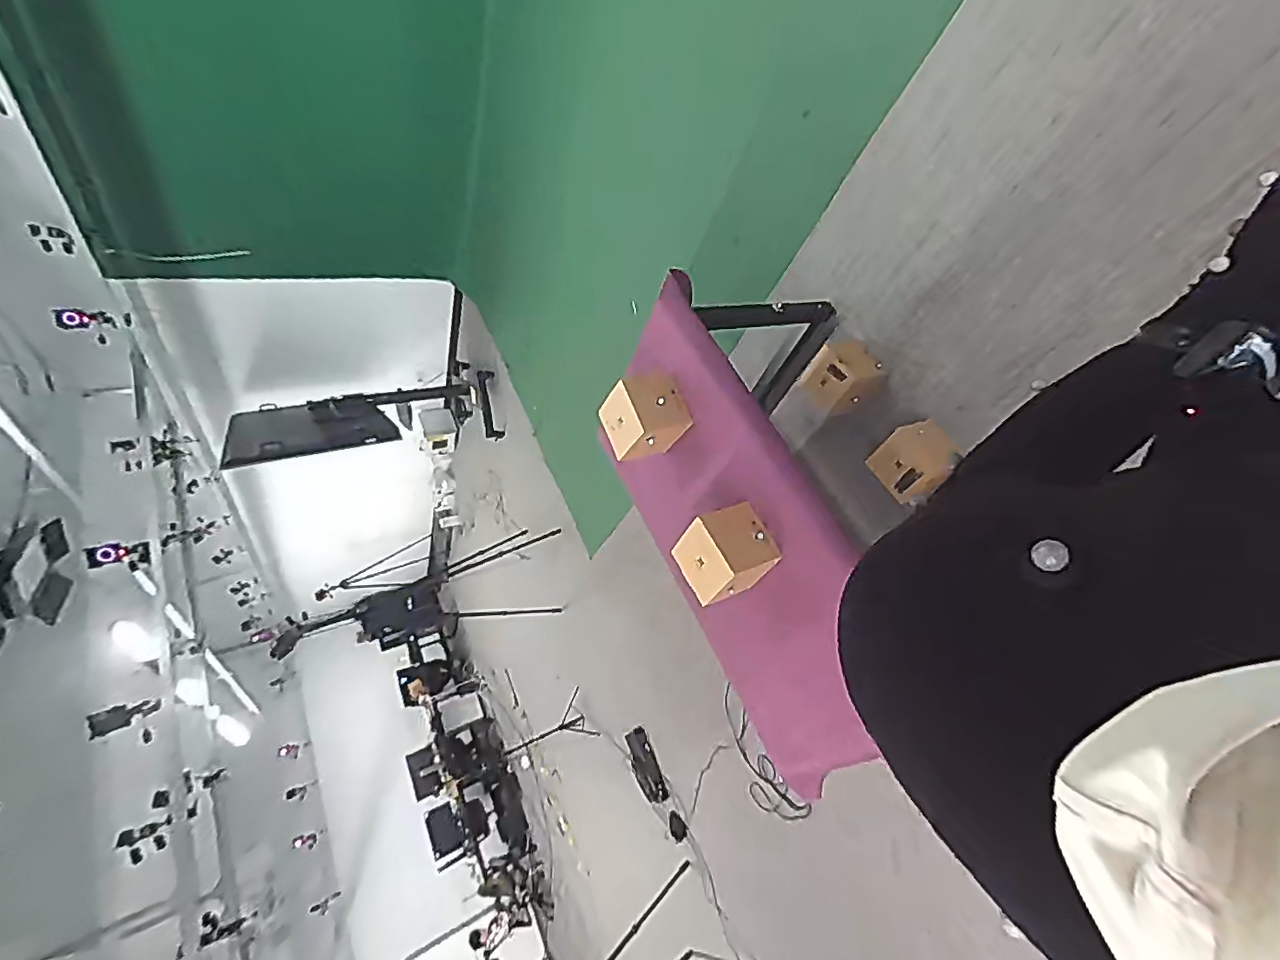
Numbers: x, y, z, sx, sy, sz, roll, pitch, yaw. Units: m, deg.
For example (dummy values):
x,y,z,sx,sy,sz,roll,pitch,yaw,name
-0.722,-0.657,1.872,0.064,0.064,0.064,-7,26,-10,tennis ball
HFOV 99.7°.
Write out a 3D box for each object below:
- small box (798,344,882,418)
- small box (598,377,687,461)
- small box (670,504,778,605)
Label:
x,y,z,sx,sy,sz,roll,pitch,yaw,name
0.672,-0.334,1.801,0.168,0.176,0.179,60,146,26,small box
0.012,-0.175,1.521,0.179,0.176,0.168,-45,63,54,small box
0.208,0.184,1.341,0.168,0.176,0.179,60,144,25,small box
